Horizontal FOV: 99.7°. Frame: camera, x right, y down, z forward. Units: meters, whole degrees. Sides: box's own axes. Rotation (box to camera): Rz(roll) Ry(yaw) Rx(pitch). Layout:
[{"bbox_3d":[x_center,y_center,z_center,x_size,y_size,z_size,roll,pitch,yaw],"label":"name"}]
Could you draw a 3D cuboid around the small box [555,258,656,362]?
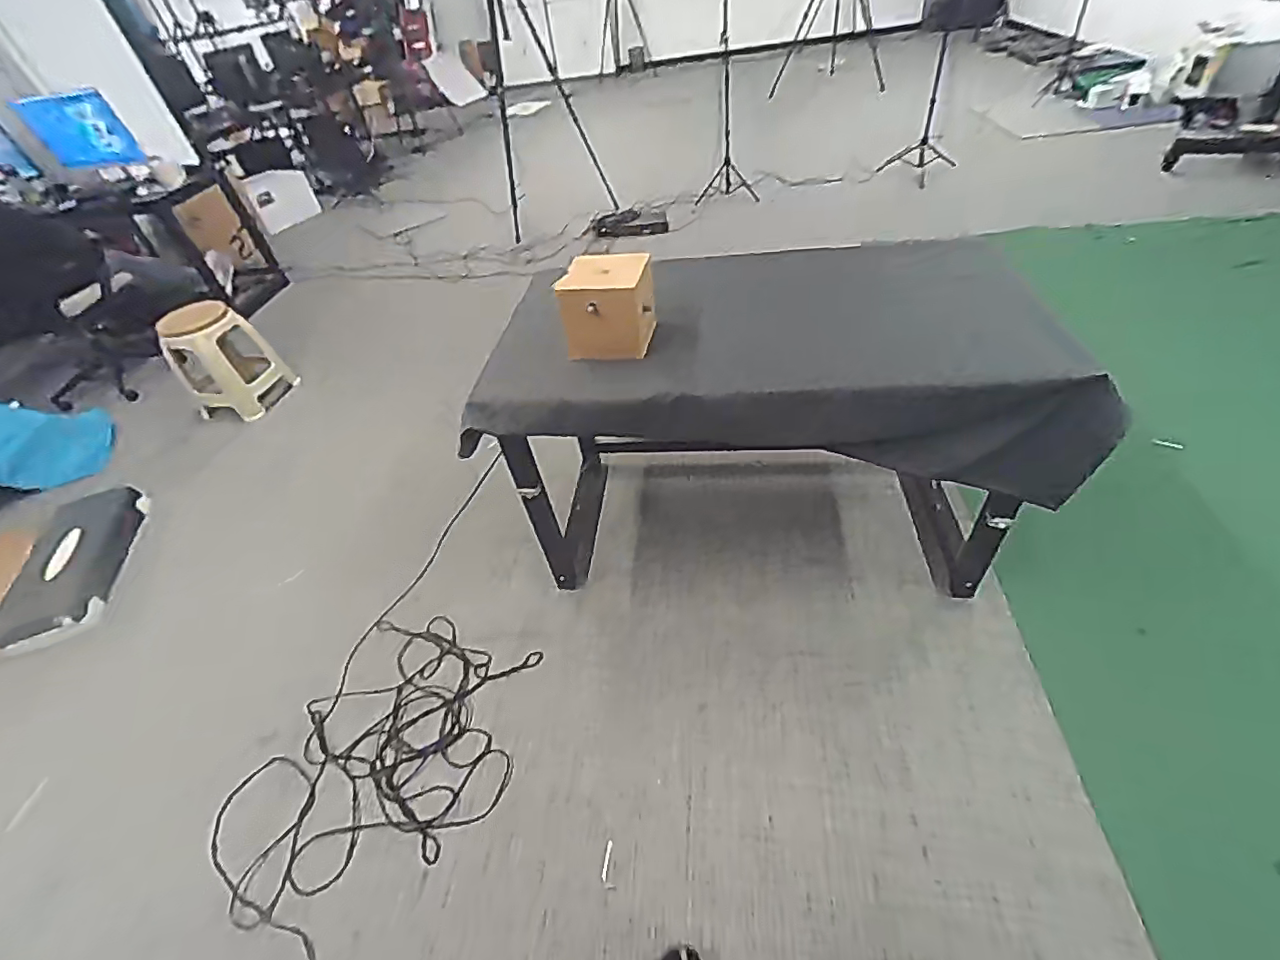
[{"bbox_3d":[-0.066,-0.374,1.198,0.179,0.176,0.168,4,45,13],"label":"small box"}]
